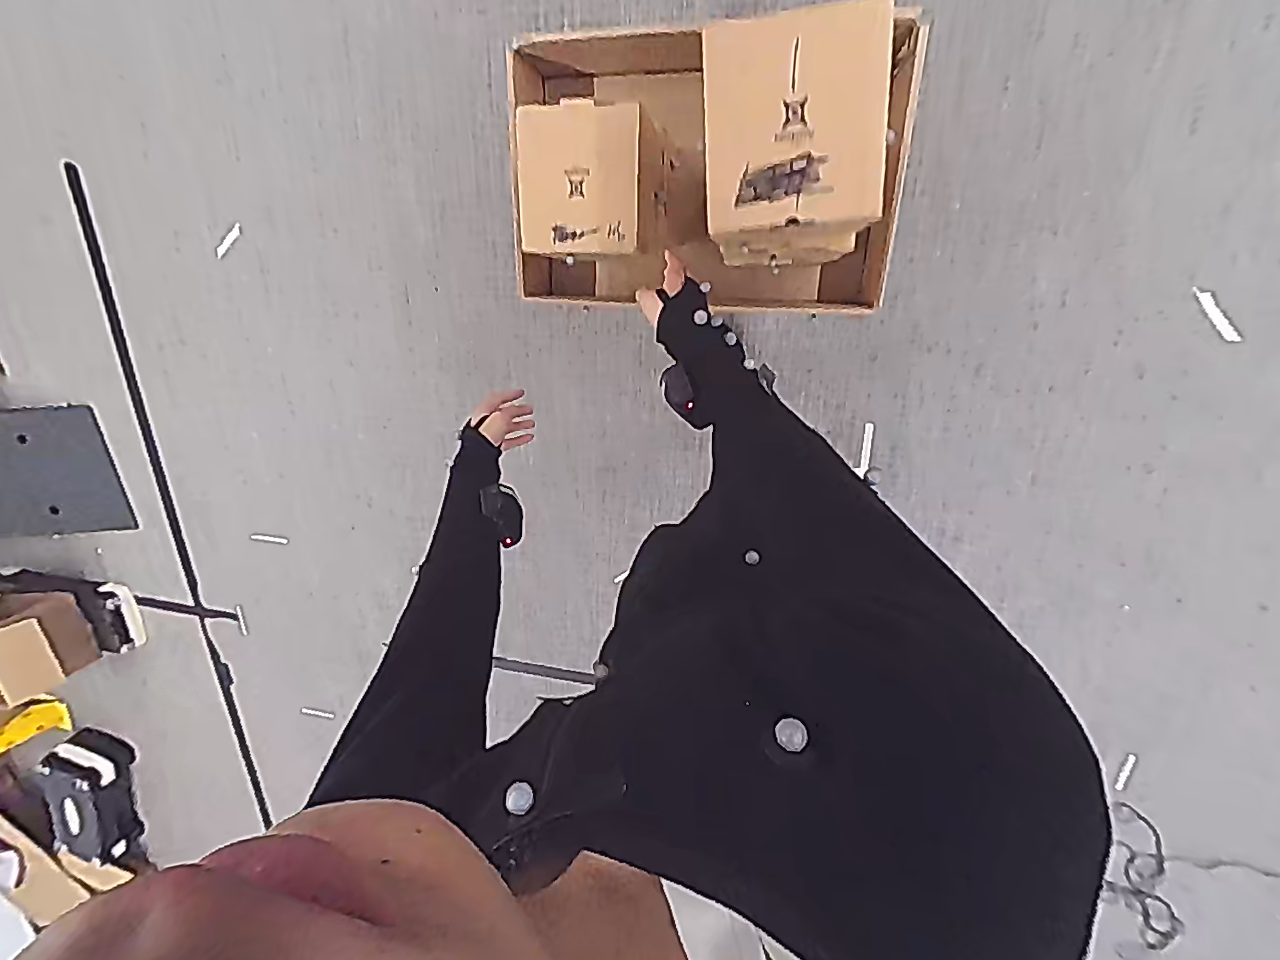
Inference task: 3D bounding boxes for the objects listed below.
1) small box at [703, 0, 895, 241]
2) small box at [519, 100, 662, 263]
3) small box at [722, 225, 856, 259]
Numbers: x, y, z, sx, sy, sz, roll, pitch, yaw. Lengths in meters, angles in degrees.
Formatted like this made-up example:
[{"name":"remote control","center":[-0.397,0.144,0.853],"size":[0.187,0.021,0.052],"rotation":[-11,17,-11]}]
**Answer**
[{"name":"small box","center":[0.159,-0.356,0.573],"size":[0.168,0.176,0.179],"rotation":[0,108,12]},{"name":"small box","center":[-0.064,-0.416,0.778],"size":[0.168,0.176,0.179],"rotation":[6,109,11]},{"name":"small box","center":[0.199,-0.398,0.728],"size":[0.168,0.176,0.179],"rotation":[3,110,12]}]
